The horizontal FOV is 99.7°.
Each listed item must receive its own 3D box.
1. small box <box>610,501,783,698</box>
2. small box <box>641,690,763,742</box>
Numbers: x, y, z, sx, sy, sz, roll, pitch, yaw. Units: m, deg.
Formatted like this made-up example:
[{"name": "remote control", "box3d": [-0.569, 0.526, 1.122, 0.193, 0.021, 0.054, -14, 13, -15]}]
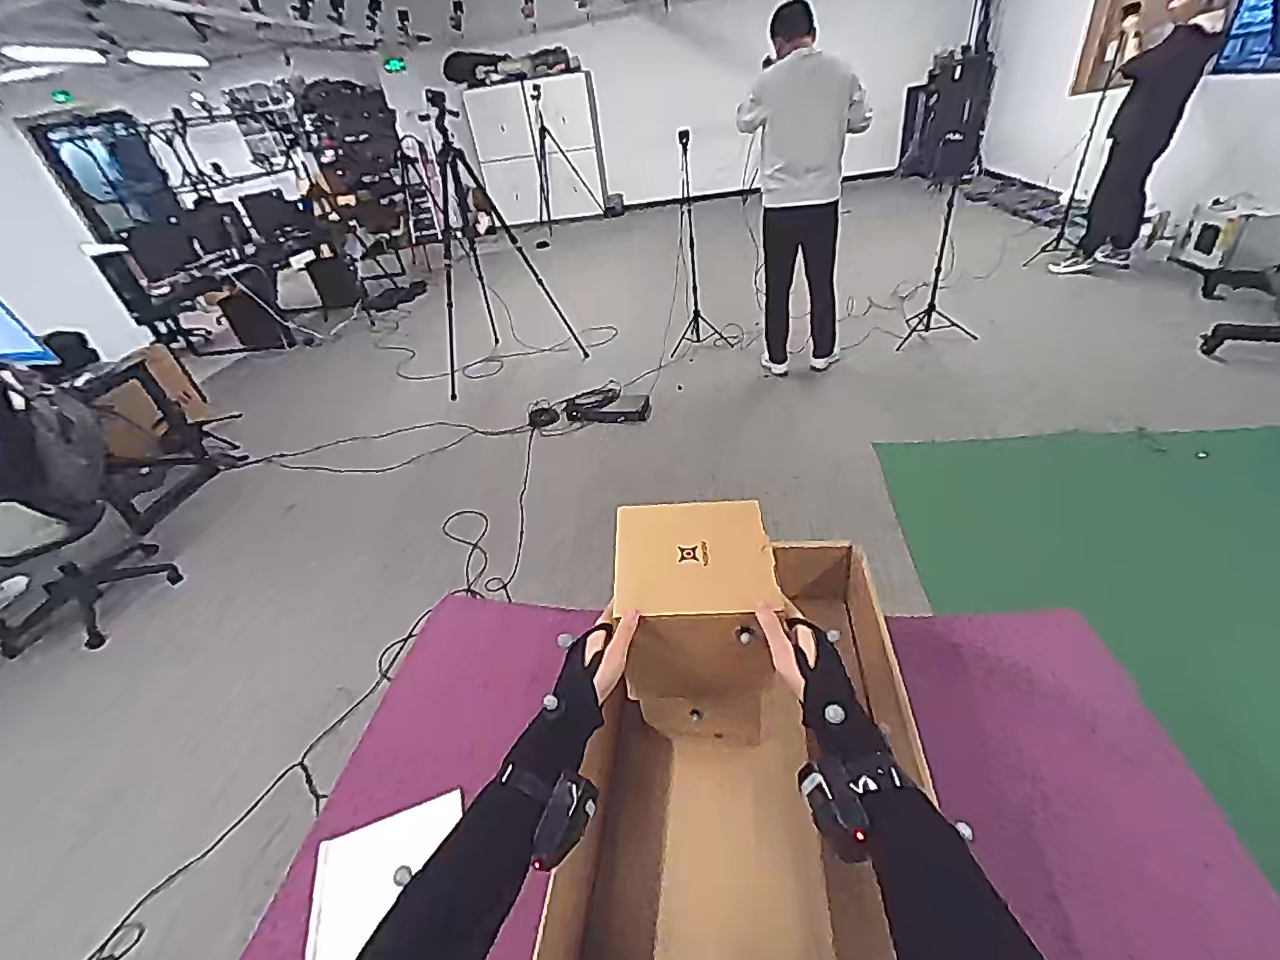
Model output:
[{"name": "small box", "box3d": [0.062, 0.144, 0.646, 0.179, 0.176, 0.168, -3, 40, 2]}, {"name": "small box", "box3d": [0.095, 0.265, 0.802, 0.168, 0.176, 0.179, -2, 37, 11]}]
